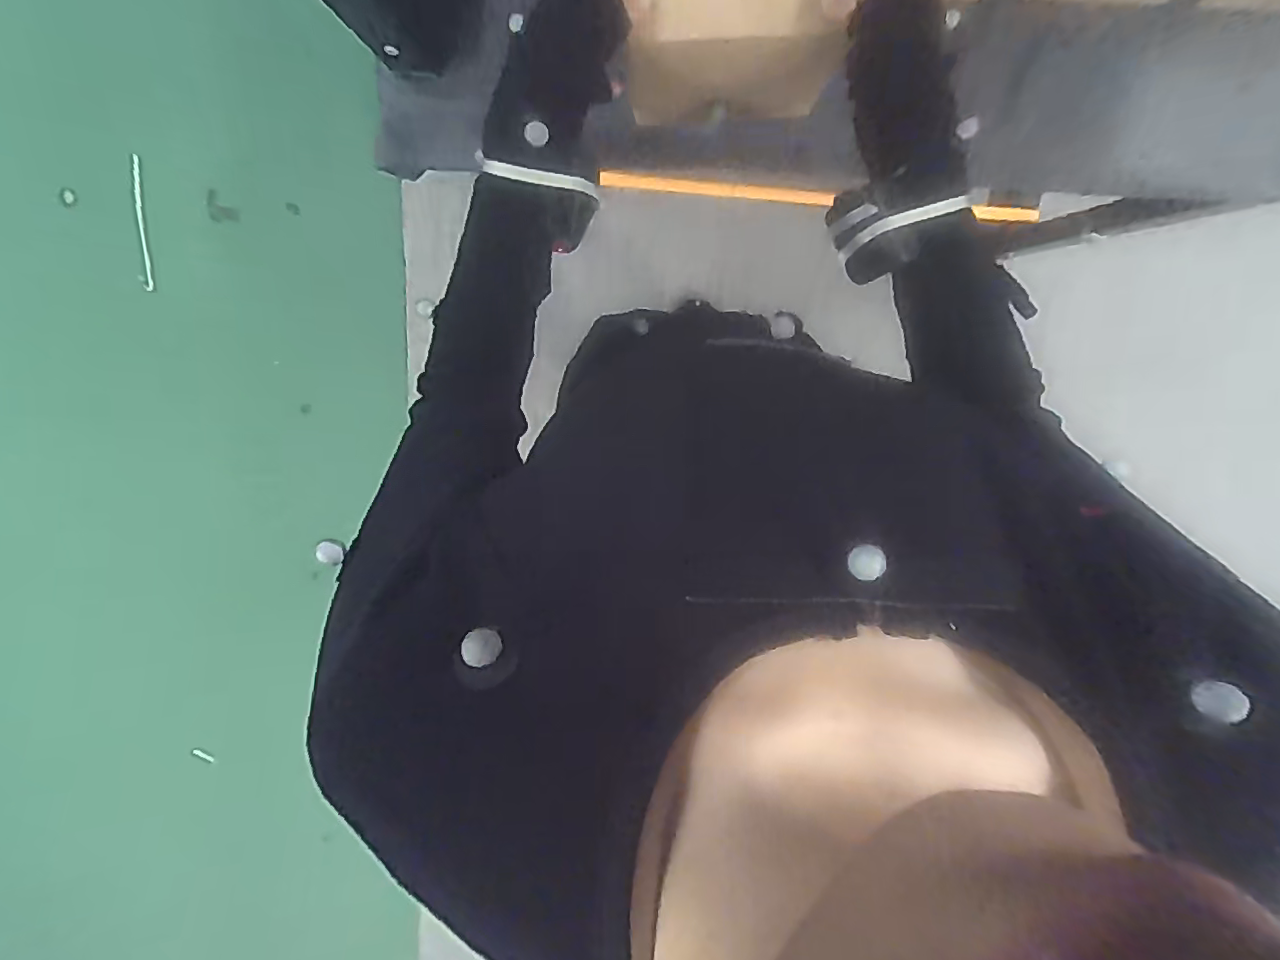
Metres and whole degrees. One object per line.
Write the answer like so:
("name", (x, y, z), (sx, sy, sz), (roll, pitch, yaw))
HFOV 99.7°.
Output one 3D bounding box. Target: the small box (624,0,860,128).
("small box", (0.071, -0.411, 0.434), (0.168, 0.176, 0.179), (-1, 108, 3))
